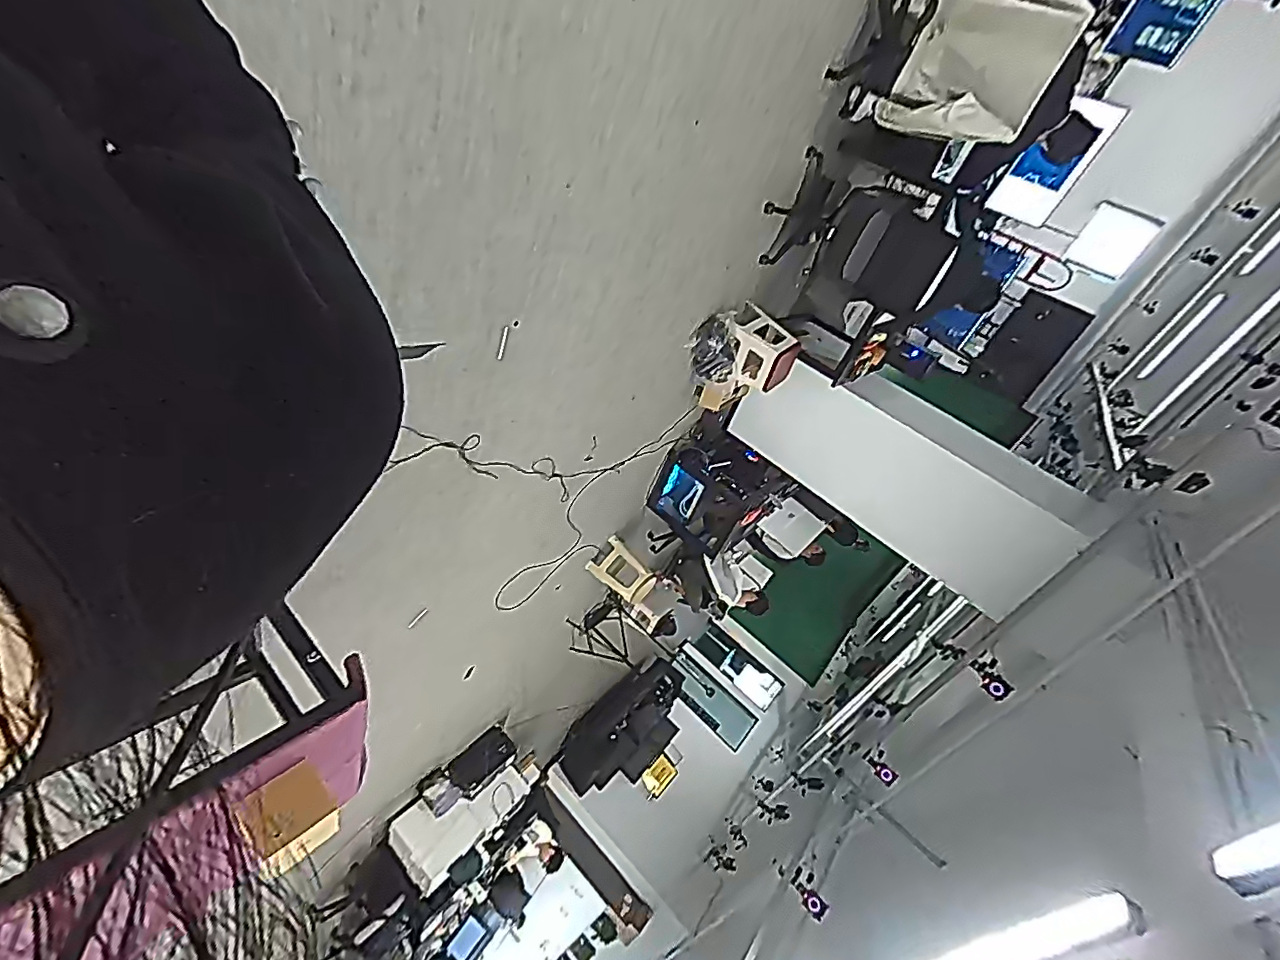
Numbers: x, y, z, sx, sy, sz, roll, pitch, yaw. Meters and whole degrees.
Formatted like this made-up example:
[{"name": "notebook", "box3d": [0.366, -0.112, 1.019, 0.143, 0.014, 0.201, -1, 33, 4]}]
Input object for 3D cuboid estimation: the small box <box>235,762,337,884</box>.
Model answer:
[{"name": "small box", "box3d": [-0.912, 0.877, 1.392, 0.179, 0.176, 0.168, -27, 150, -47]}]
